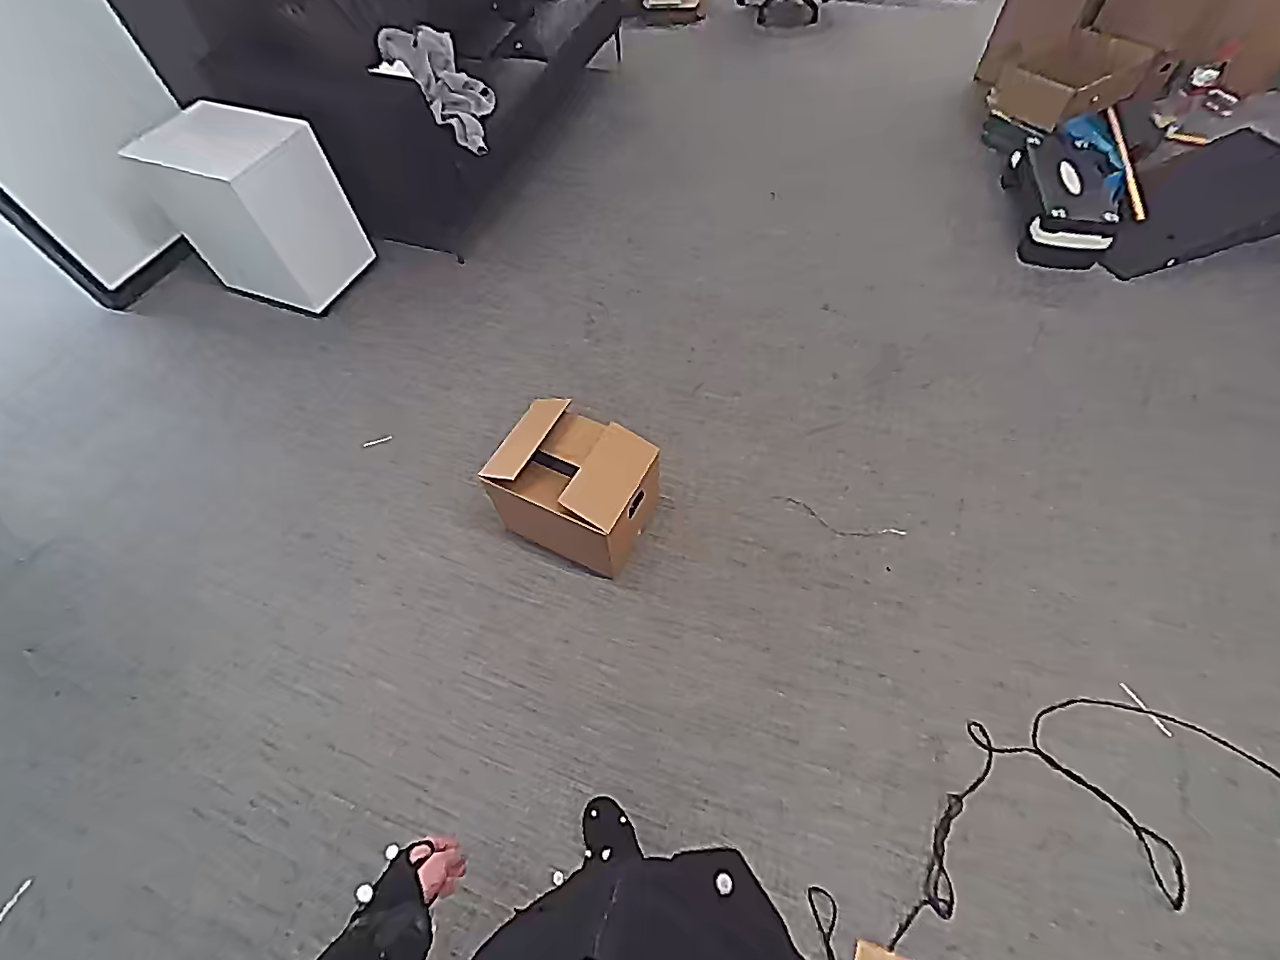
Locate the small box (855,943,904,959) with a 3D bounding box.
[{"bbox_3d":[0.321,0.675,0.609,0.168,0.179,0.176,8,43,24],"label":"small box"}]
